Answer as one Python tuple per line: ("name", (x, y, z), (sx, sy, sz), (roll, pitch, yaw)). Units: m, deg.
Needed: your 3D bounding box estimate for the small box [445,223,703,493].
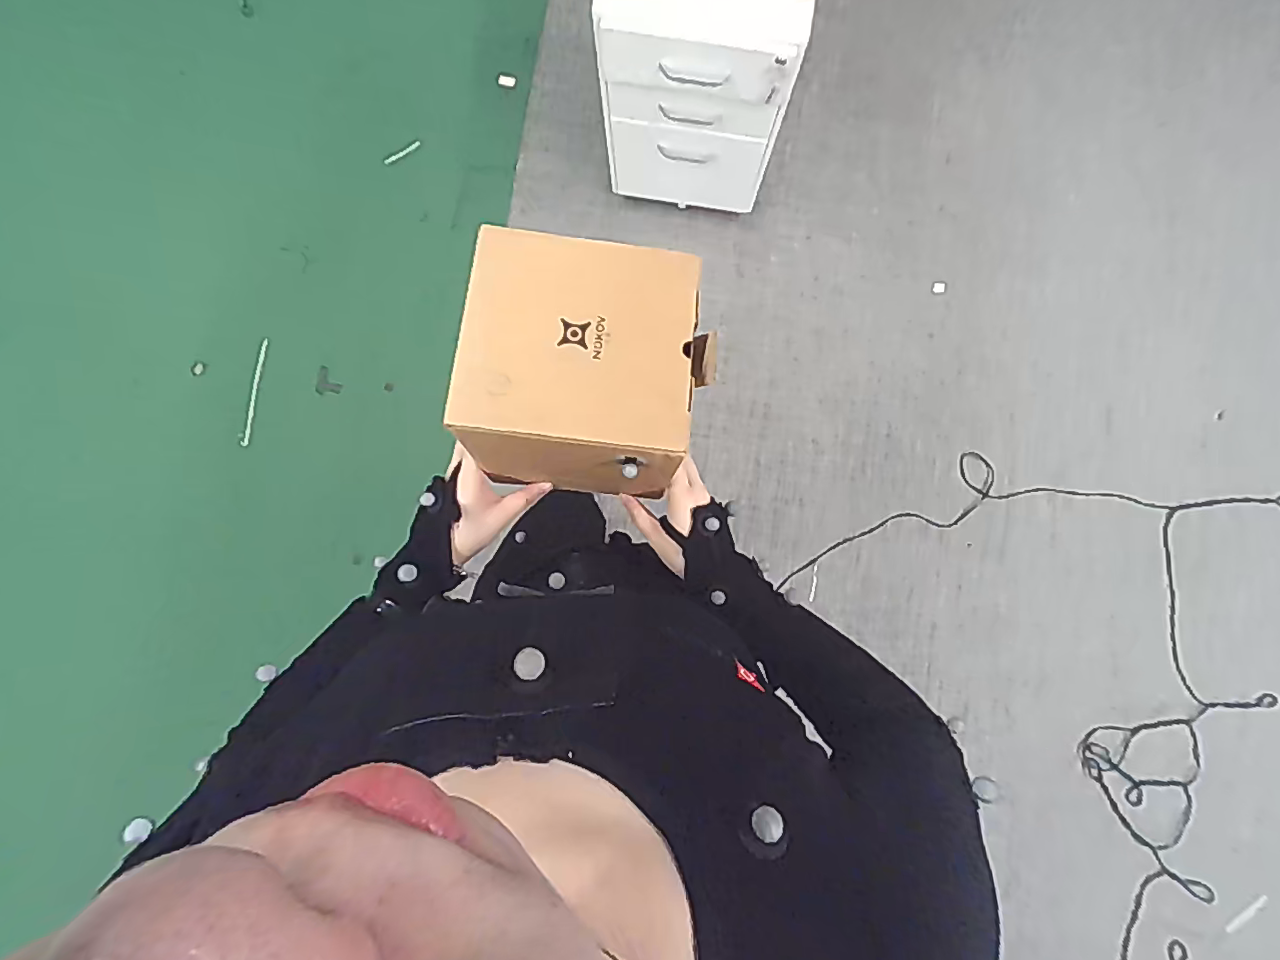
("small box", (-0.051, -0.091, 0.480), (0.179, 0.176, 0.168), (7, 76, -5))
